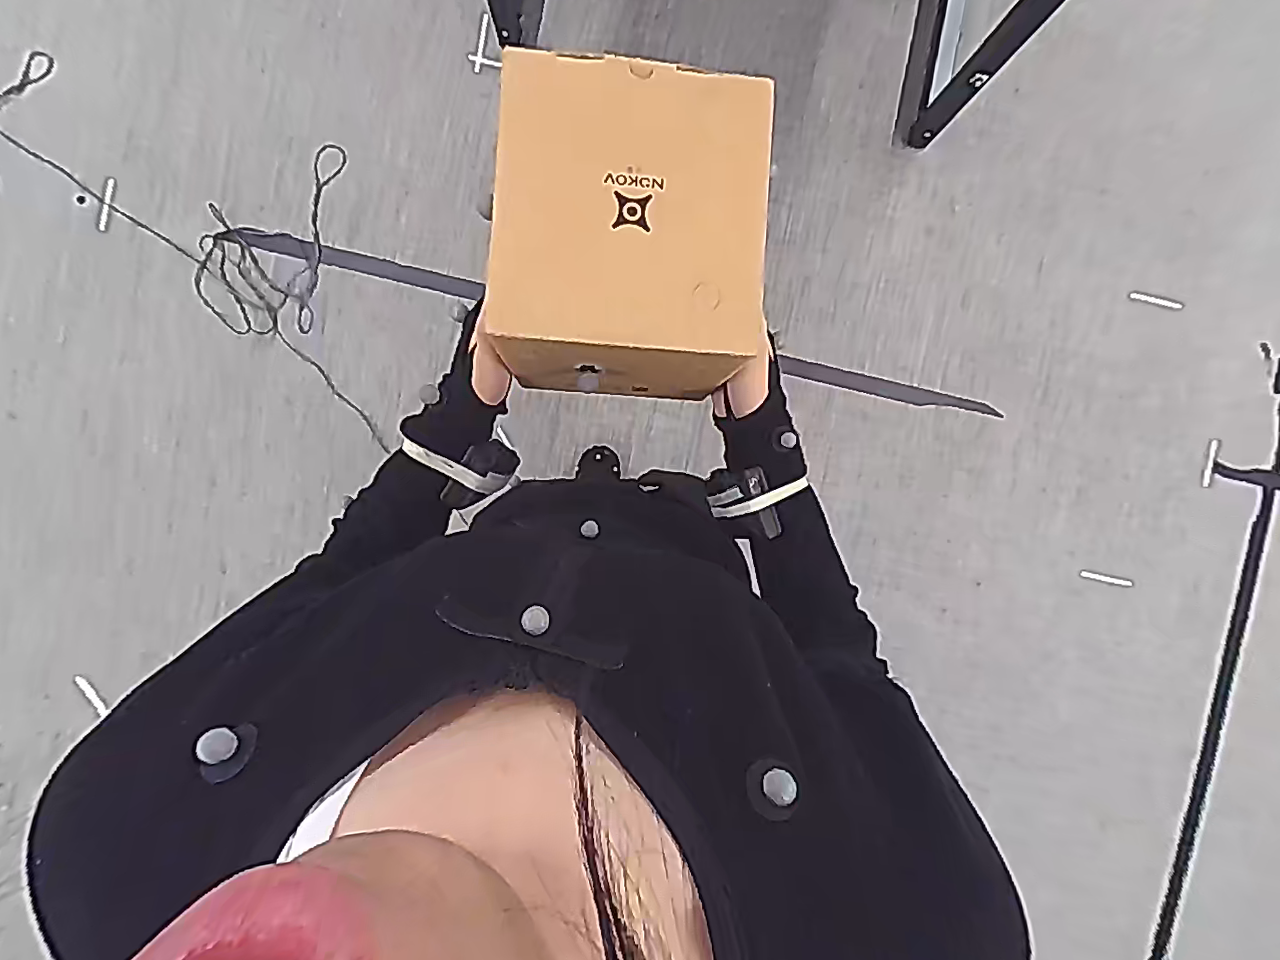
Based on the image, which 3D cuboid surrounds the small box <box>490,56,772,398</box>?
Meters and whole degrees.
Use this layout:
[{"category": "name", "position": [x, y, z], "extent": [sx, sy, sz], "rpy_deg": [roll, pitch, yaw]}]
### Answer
[{"category": "small box", "position": [-0.010, -0.164, 0.411], "extent": [0.168, 0.176, 0.179], "rpy_deg": [3, 87, -5]}]
